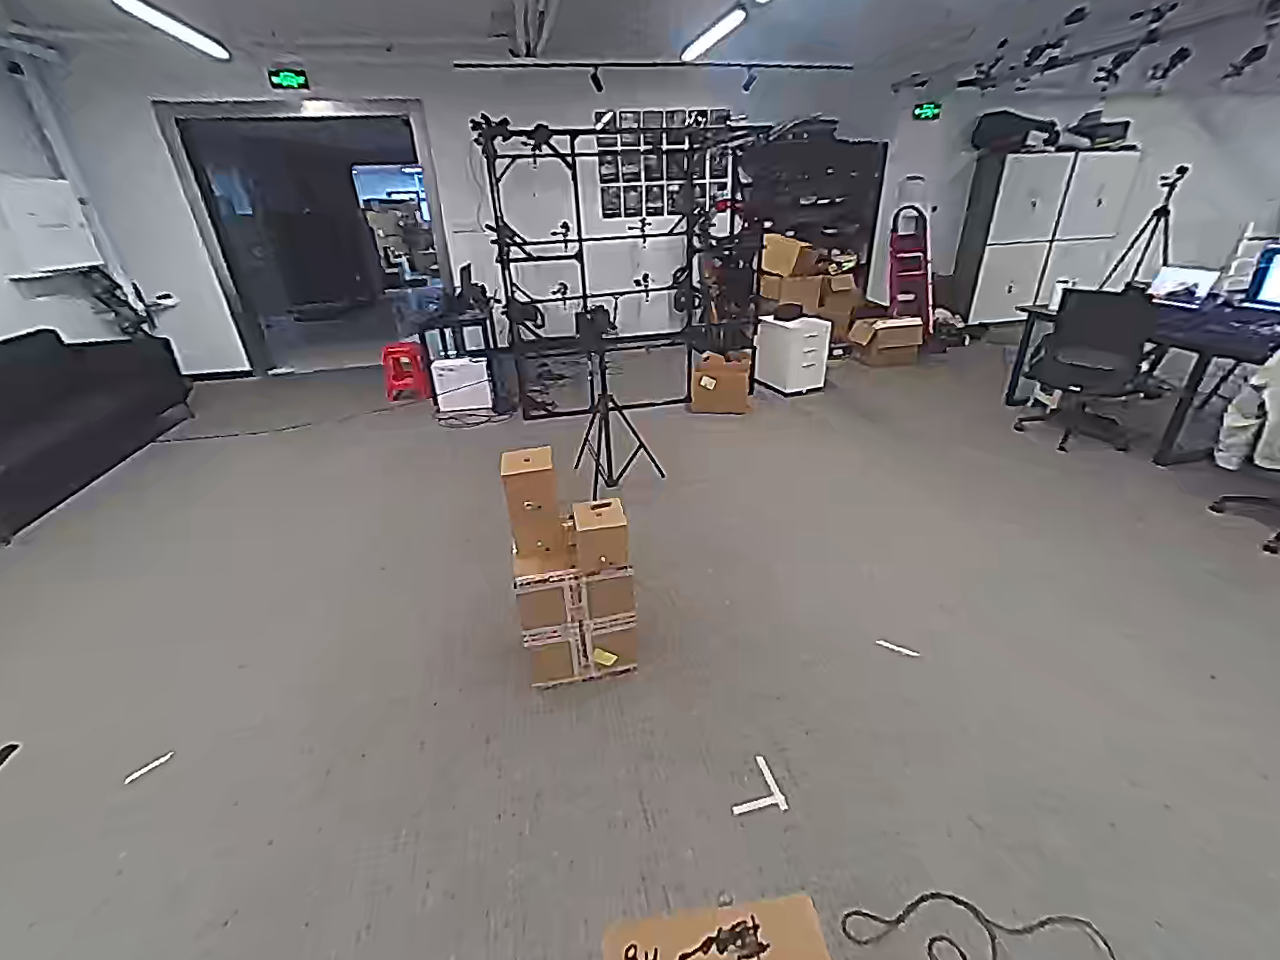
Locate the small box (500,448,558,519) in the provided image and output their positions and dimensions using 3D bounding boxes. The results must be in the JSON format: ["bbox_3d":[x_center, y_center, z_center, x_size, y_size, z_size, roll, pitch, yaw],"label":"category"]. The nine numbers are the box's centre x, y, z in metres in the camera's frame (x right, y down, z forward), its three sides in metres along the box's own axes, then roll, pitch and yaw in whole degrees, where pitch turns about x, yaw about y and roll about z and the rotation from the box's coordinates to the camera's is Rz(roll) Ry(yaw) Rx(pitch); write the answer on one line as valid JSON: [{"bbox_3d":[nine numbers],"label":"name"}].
[{"bbox_3d":[-0.376,0.011,1.834,0.168,0.176,0.179,-9,30,-8],"label":"small box"}]

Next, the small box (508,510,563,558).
[{"bbox_3d":[-0.369,0.153,1.912,0.168,0.176,0.179,-9,29,-8],"label":"small box"}]

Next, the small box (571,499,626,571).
[{"bbox_3d":[-0.142,0.187,1.833,0.168,0.176,0.179,-7,30,-10],"label":"small box"}]
